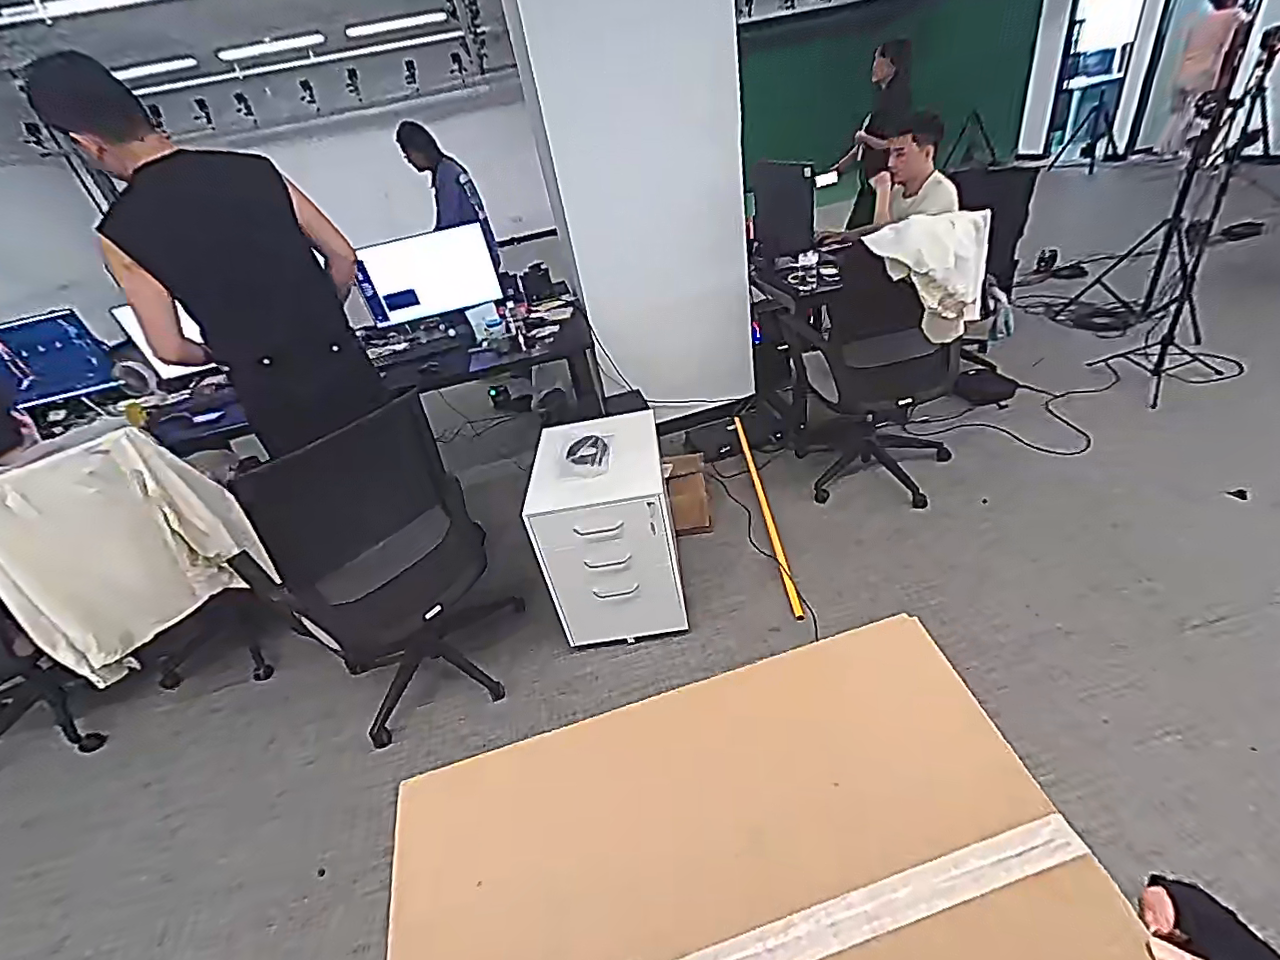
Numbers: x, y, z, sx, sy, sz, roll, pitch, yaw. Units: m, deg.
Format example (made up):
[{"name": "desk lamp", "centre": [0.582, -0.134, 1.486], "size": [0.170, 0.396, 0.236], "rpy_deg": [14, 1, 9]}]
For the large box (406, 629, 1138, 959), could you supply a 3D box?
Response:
[{"name": "large box", "centre": [0.085, 0.378, 0.410], "size": [0.408, 0.320, 0.320], "rpy_deg": [-17, 44, -4]}]
